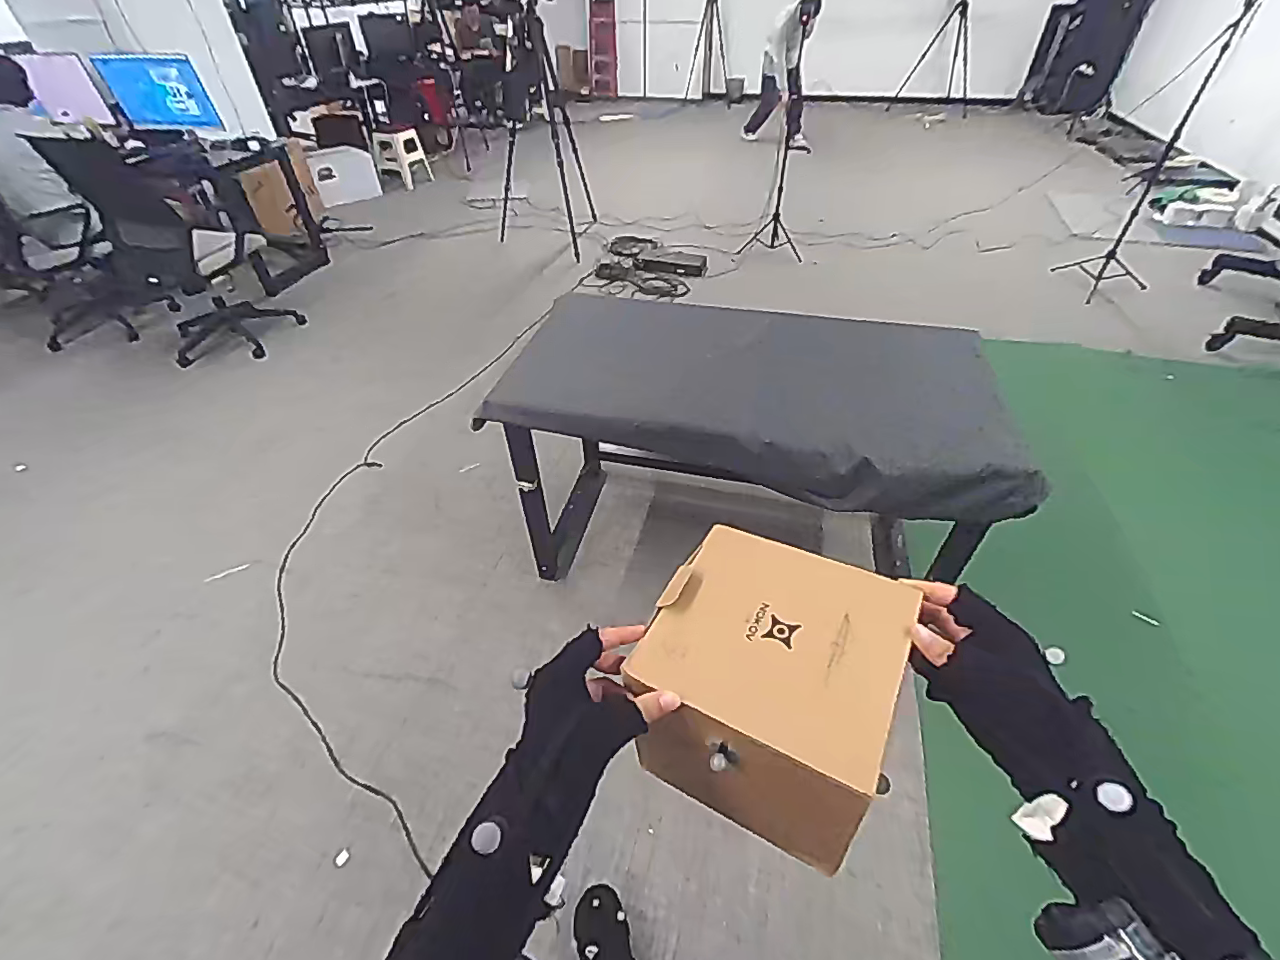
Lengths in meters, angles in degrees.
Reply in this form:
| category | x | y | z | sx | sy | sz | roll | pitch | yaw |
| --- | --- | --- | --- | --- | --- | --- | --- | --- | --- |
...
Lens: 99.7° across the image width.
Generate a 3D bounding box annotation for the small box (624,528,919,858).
| category | x | y | z | sx | sy | sz | roll | pitch | yaw |
| --- | --- | --- | --- | --- | --- | --- | --- | --- | --- |
| small box | 0.108 | 0.174 | 0.454 | 0.179 | 0.176 | 0.168 | 18 | 46 | 25 |
